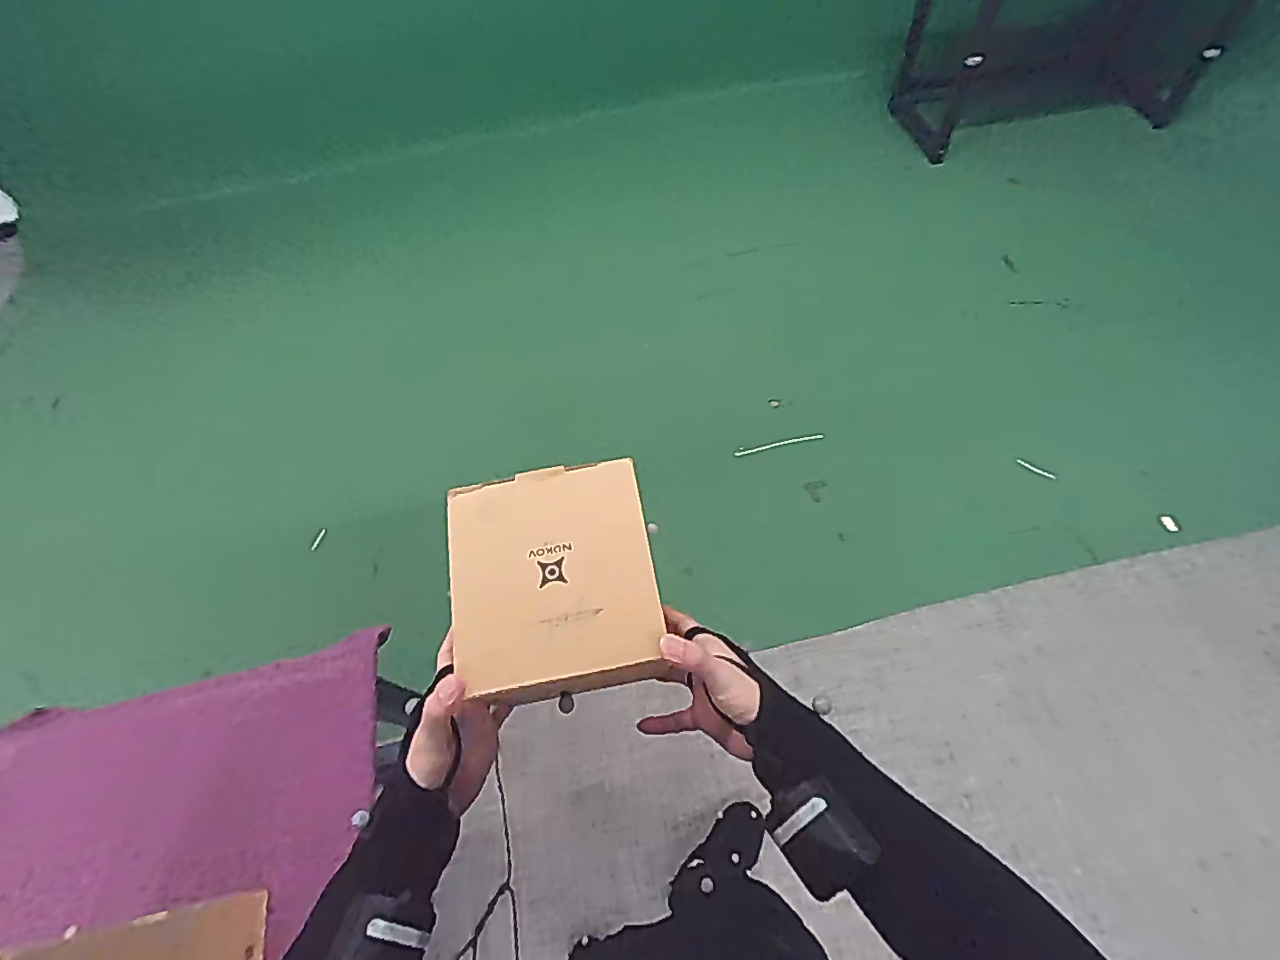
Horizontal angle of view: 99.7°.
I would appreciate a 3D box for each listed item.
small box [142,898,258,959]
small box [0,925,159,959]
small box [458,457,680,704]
[{"bbox_3d":[-0.562,0.589,0.591,0.179,0.176,0.168,-16,59,-3],"label":"small box"},{"bbox_3d":[-0.567,0.503,0.450,0.179,0.176,0.168,-13,59,0],"label":"small box"},{"bbox_3d":[-0.062,0.101,0.503,0.168,0.176,0.179,-9,66,-3],"label":"small box"}]
